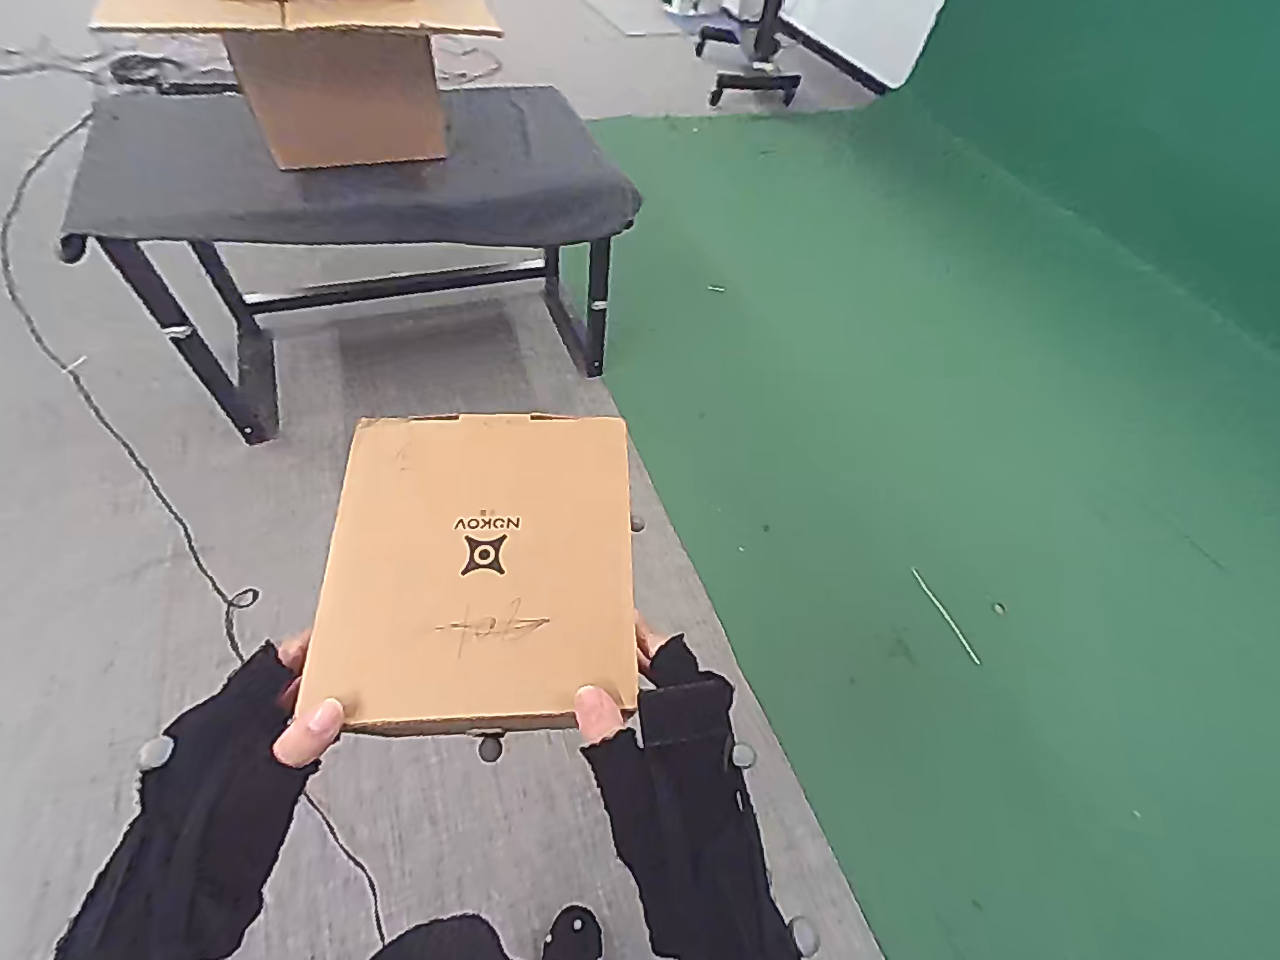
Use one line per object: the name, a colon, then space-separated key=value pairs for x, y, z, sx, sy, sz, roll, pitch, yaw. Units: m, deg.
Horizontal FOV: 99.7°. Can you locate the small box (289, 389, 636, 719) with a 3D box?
small box: x=-0.093 y=0.059 z=0.367 sx=0.168 sy=0.176 sz=0.179 roll=-1 pitch=63 yaw=-5

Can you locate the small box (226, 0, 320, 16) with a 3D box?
small box: x=-0.739 y=-1.030 z=1.043 sx=0.168 sy=0.176 sz=0.179 roll=-15 pitch=57 yaw=-16
